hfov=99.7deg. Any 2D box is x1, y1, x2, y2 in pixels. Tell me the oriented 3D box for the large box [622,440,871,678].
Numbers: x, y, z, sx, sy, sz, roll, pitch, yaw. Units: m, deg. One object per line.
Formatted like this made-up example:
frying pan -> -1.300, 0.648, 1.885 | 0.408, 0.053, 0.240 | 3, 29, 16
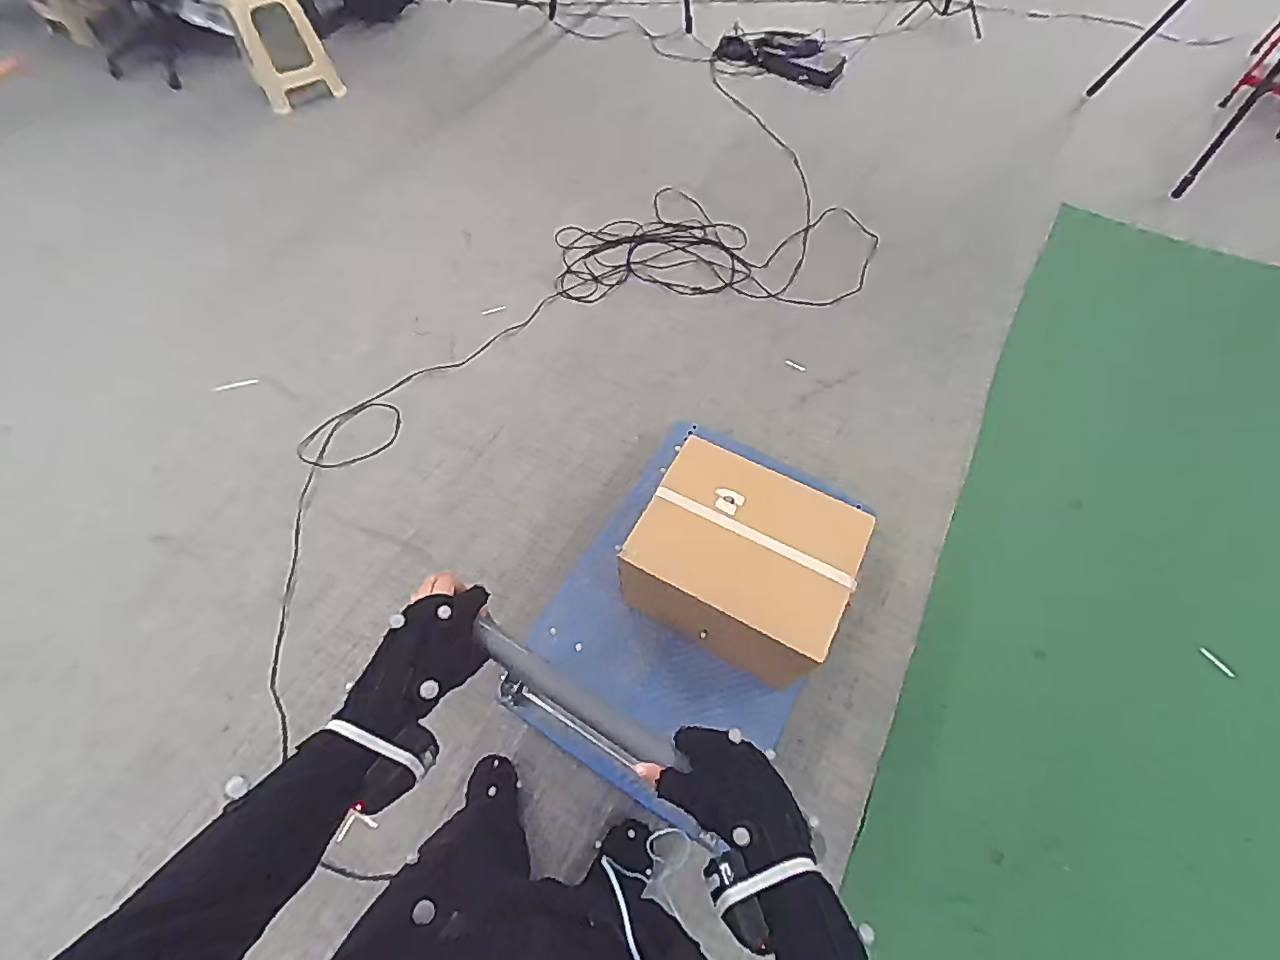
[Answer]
large box -> 0.216, 0.180, 1.172 | 0.408, 0.320, 0.320 | 25, 64, 15
